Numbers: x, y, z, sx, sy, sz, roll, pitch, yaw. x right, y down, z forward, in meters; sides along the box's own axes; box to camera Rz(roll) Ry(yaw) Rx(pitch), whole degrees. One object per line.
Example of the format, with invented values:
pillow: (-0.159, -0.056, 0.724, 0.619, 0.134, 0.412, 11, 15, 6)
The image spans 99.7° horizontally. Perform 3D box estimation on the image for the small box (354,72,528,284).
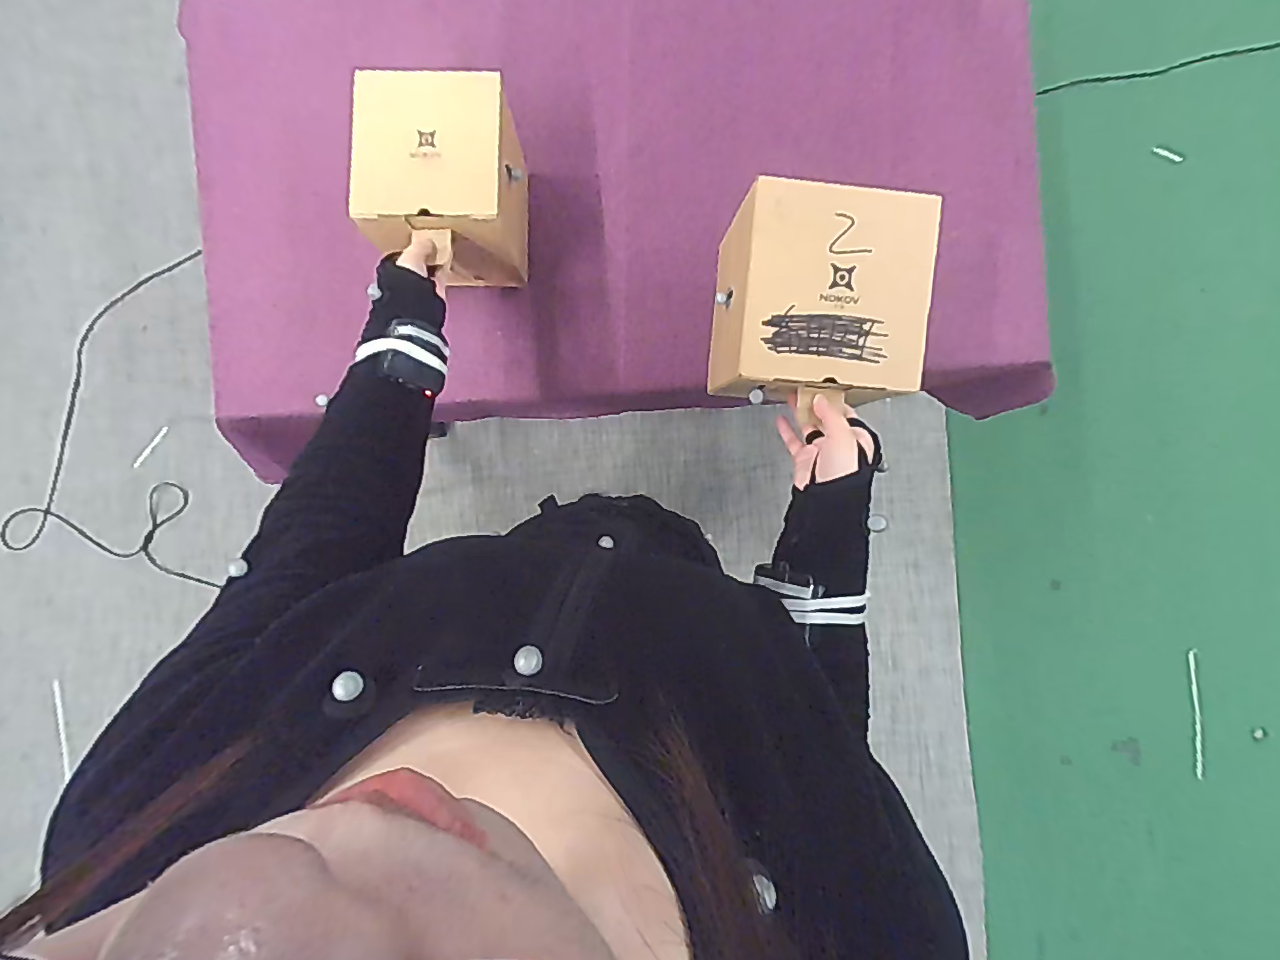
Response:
small box: (-0.242, -0.376, 0.697, 0.168, 0.176, 0.179, 0, 85, -1)
